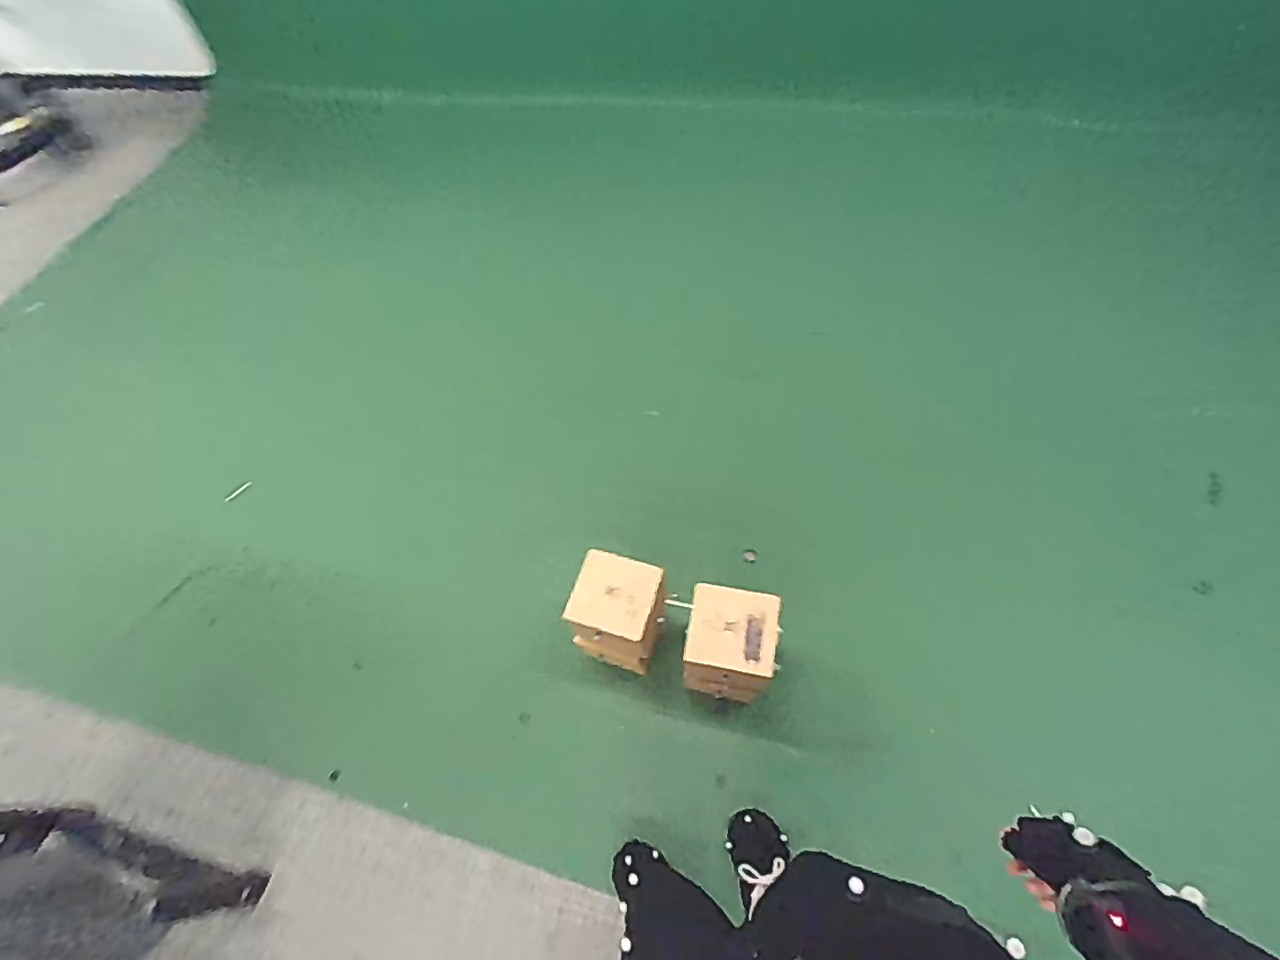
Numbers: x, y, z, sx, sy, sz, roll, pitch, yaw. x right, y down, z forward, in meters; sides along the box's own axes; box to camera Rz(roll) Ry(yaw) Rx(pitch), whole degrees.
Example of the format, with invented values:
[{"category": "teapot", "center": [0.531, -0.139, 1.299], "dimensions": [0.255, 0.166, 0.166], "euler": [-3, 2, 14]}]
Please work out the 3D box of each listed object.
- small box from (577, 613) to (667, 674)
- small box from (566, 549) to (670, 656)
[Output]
[{"category": "small box", "center": [-0.036, 0.371, 1.365], "dimensions": [0.168, 0.176, 0.179], "euler": [15, 63, 15]}, {"category": "small box", "center": [-0.042, 0.282, 1.225], "dimensions": [0.179, 0.176, 0.168], "euler": [14, 63, 15]}]
